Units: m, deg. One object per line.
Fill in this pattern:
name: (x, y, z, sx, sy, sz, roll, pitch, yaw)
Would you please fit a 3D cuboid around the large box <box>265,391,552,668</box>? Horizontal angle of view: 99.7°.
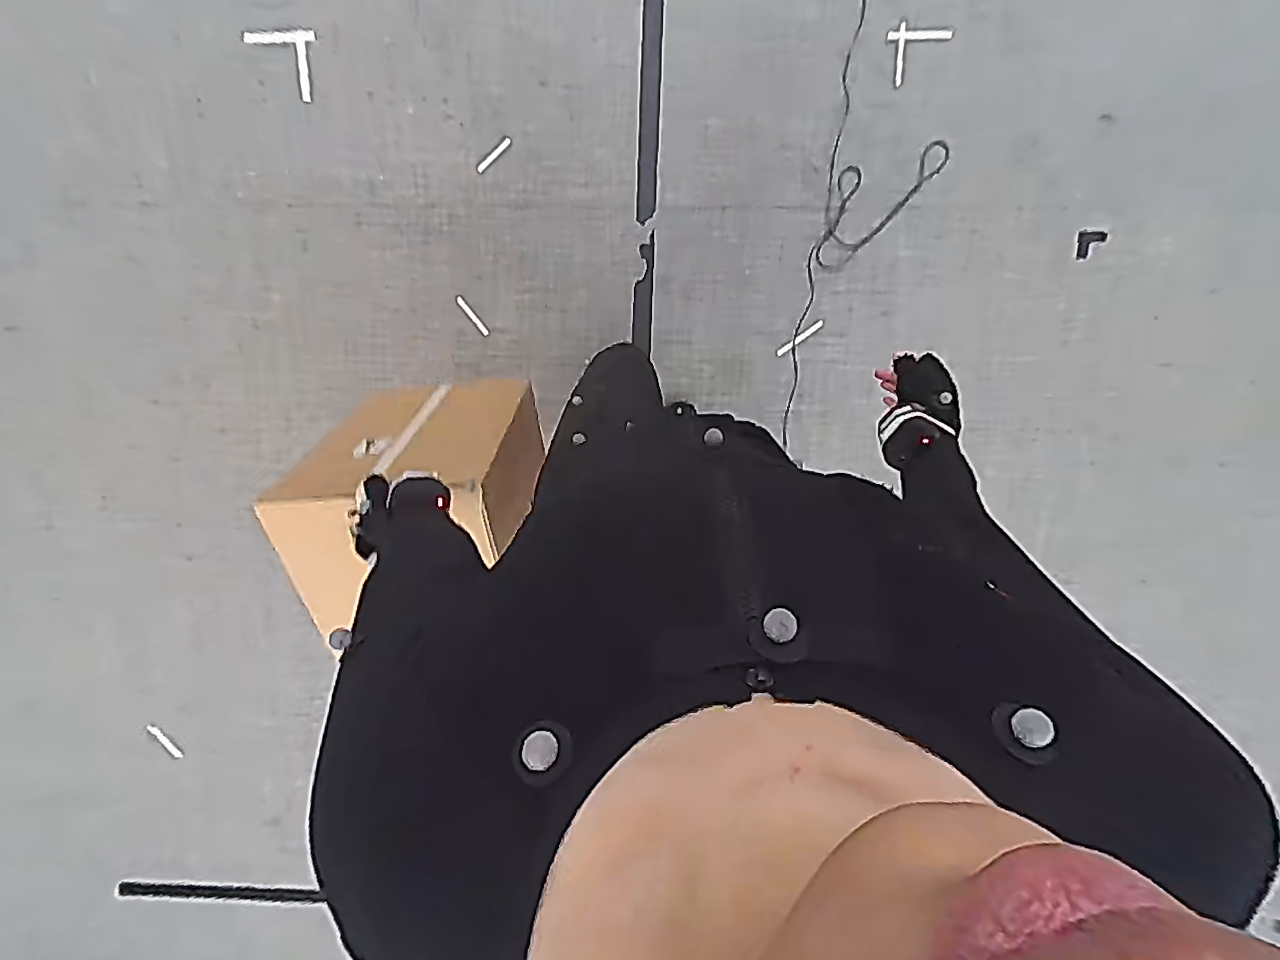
large box: (-0.352, 0.067, 0.973, 0.320, 0.408, 0.320, -7, 120, 3)
